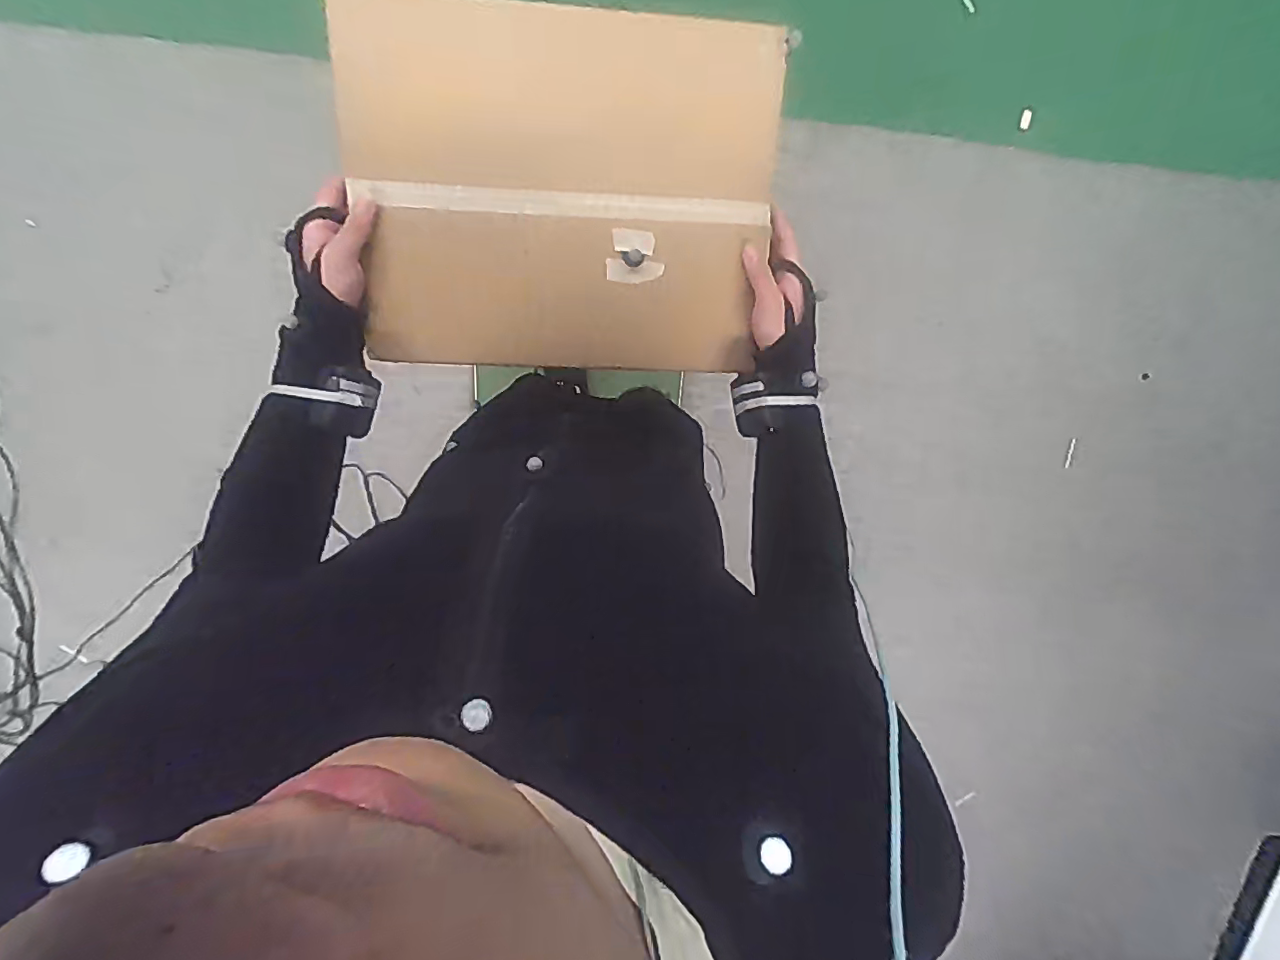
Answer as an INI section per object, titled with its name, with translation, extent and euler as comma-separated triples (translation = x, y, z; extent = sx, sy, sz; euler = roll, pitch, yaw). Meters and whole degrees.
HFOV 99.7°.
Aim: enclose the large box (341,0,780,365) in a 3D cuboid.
[large box]
translation = -0.084, -0.319, 0.675
extent = 0.408, 0.320, 0.320
euler = 0, 109, -6
